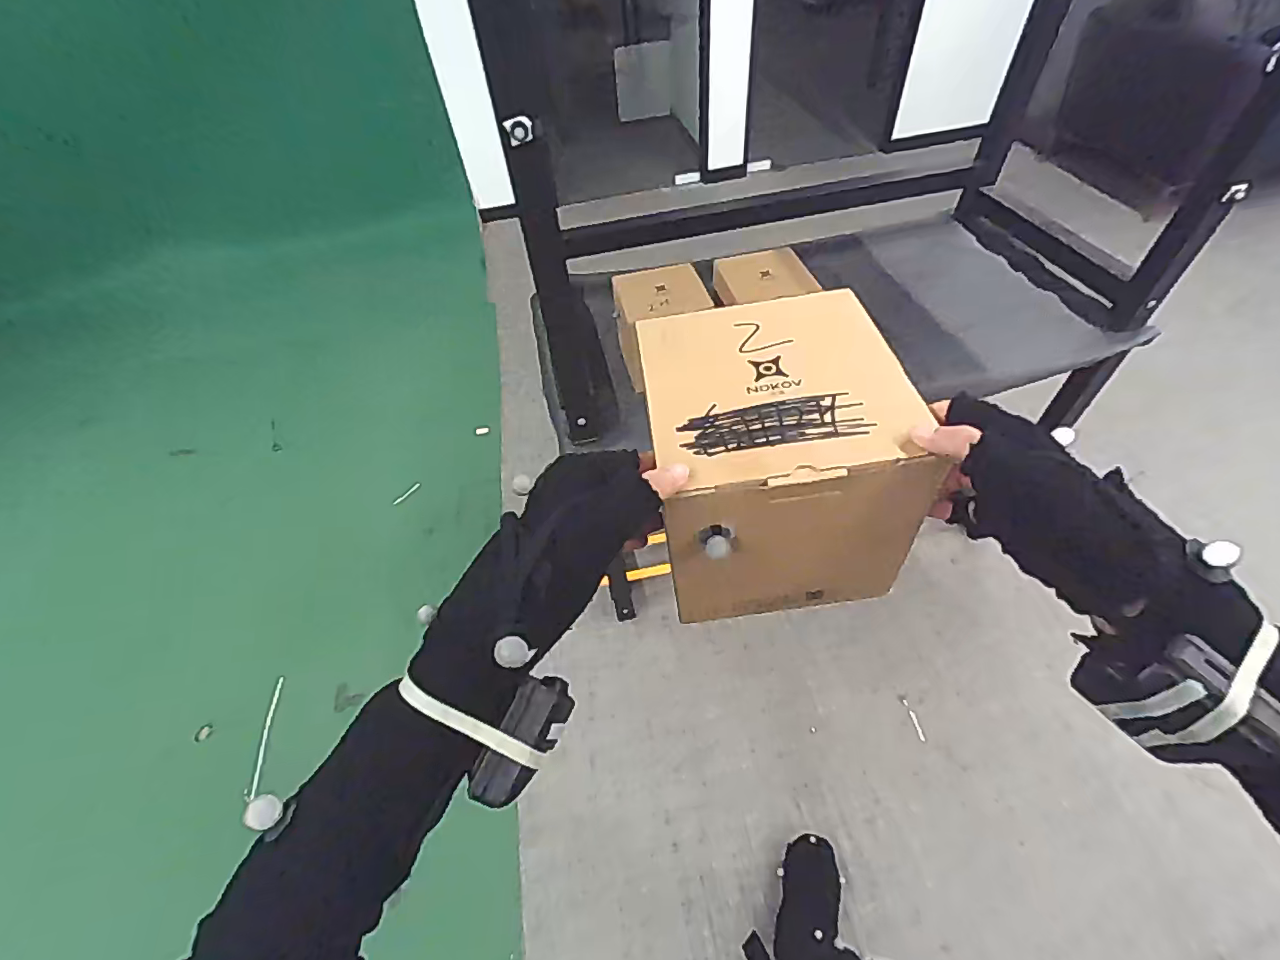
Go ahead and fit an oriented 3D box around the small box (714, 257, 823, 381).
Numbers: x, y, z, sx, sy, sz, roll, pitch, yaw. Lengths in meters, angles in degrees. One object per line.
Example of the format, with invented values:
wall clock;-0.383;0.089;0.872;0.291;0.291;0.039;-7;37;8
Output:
small box;0.253;-0.332;1.120;0.168;0.176;0.179;-12;50;-4

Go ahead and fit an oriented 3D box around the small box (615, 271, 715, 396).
small box;0.049;-0.298;1.106;0.168;0.176;0.179;-12;50;-4
